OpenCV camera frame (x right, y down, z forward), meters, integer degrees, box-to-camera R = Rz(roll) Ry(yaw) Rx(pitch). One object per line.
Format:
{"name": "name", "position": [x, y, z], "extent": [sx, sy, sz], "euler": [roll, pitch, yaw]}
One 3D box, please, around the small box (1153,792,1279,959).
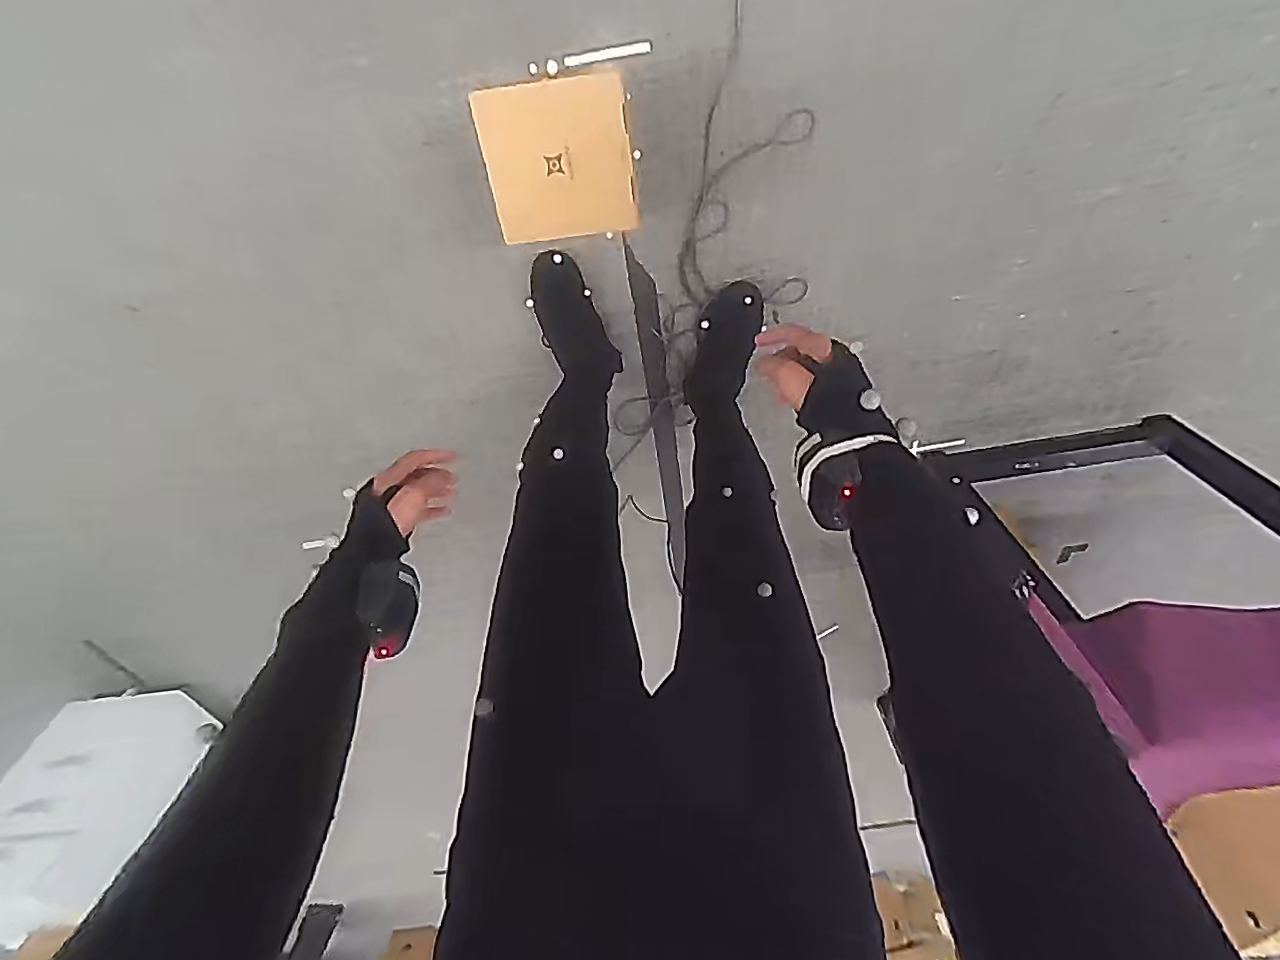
{"name": "small box", "position": [0.964, 0.599, 0.824], "extent": [0.179, 0.176, 0.168], "euler": [-10, 127, 5]}

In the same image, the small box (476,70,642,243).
{"name": "small box", "position": [-0.090, -0.424, 0.708], "extent": [0.179, 0.176, 0.168], "euler": [-6, 128, 3]}
